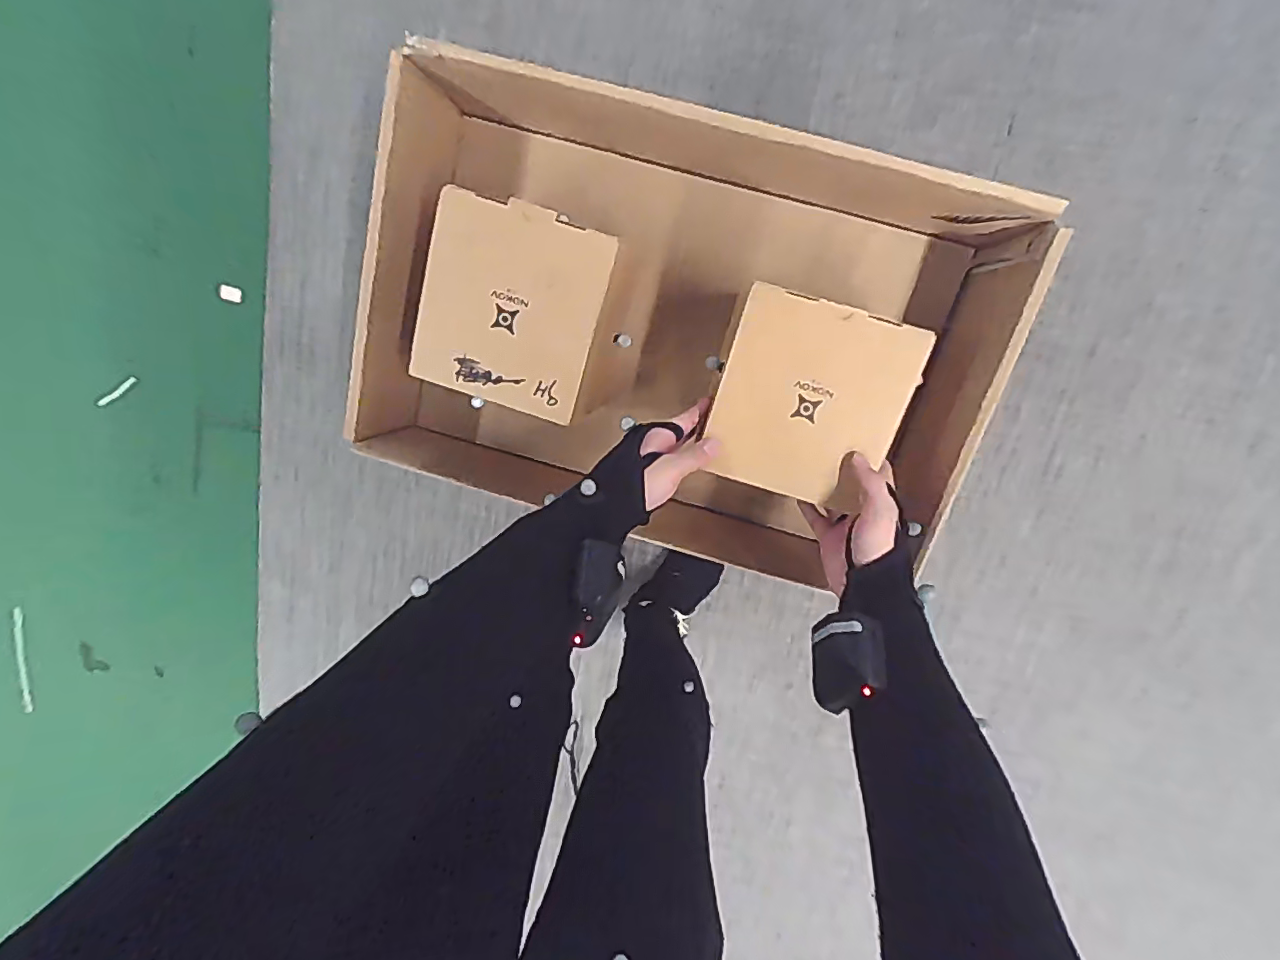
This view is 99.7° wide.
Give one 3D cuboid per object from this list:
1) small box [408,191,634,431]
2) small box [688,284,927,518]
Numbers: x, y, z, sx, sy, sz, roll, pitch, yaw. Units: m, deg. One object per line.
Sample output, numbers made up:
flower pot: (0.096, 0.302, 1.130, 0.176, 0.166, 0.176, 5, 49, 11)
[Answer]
small box: (-0.111, -0.168, 0.573, 0.168, 0.176, 0.179, 19, 104, 3)
small box: (0.157, -0.085, 0.564, 0.168, 0.176, 0.179, 17, 104, 3)
